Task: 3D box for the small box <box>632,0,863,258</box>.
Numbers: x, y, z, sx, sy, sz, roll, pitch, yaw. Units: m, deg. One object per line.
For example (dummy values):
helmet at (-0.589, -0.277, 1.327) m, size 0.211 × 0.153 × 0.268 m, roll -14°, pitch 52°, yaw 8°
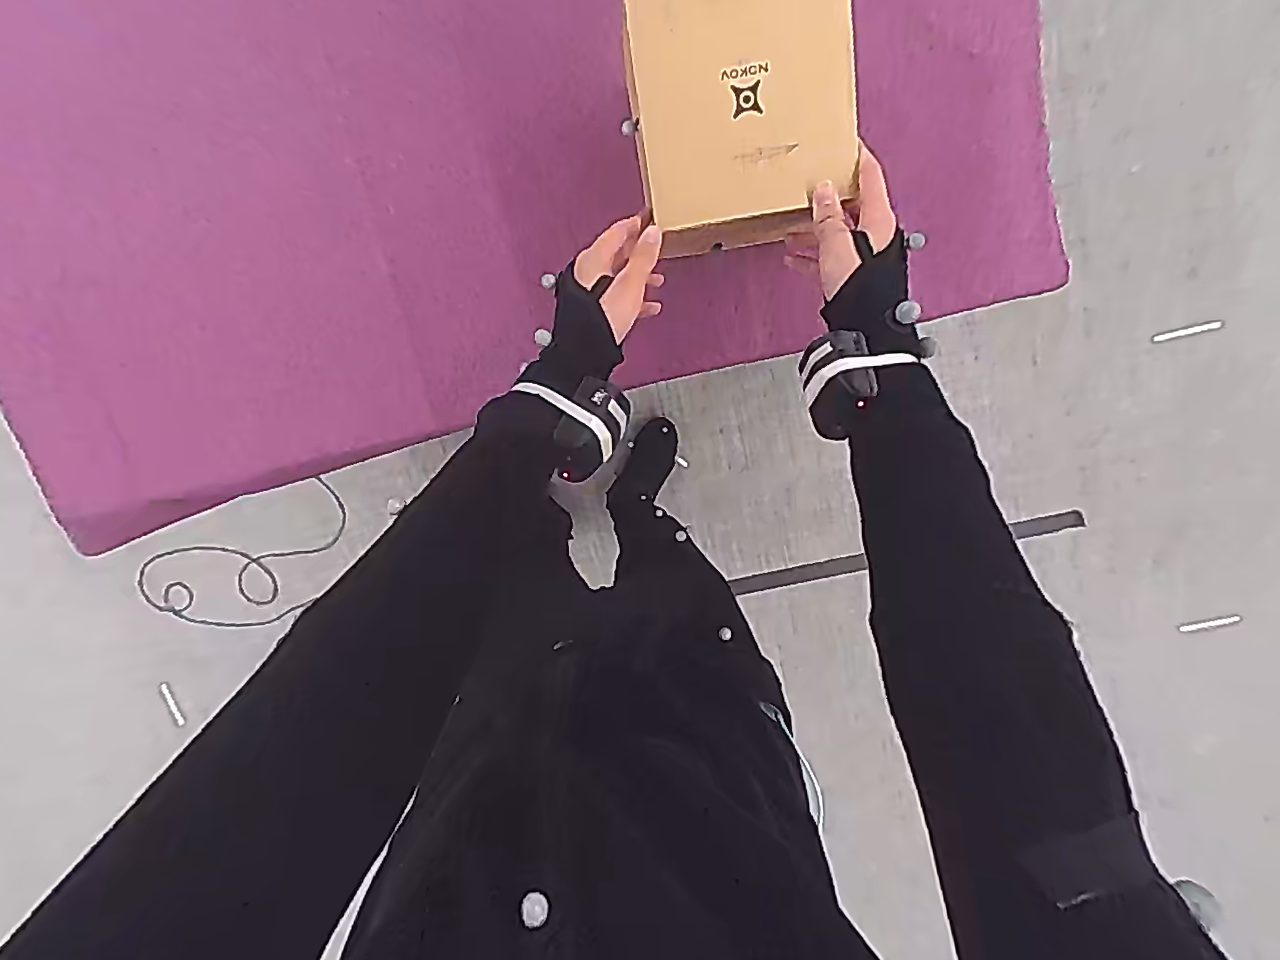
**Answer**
small box at (0.083, -0.312, 0.481) m, size 0.168 × 0.176 × 0.179 m, roll -7°, pitch 104°, yaw 3°
